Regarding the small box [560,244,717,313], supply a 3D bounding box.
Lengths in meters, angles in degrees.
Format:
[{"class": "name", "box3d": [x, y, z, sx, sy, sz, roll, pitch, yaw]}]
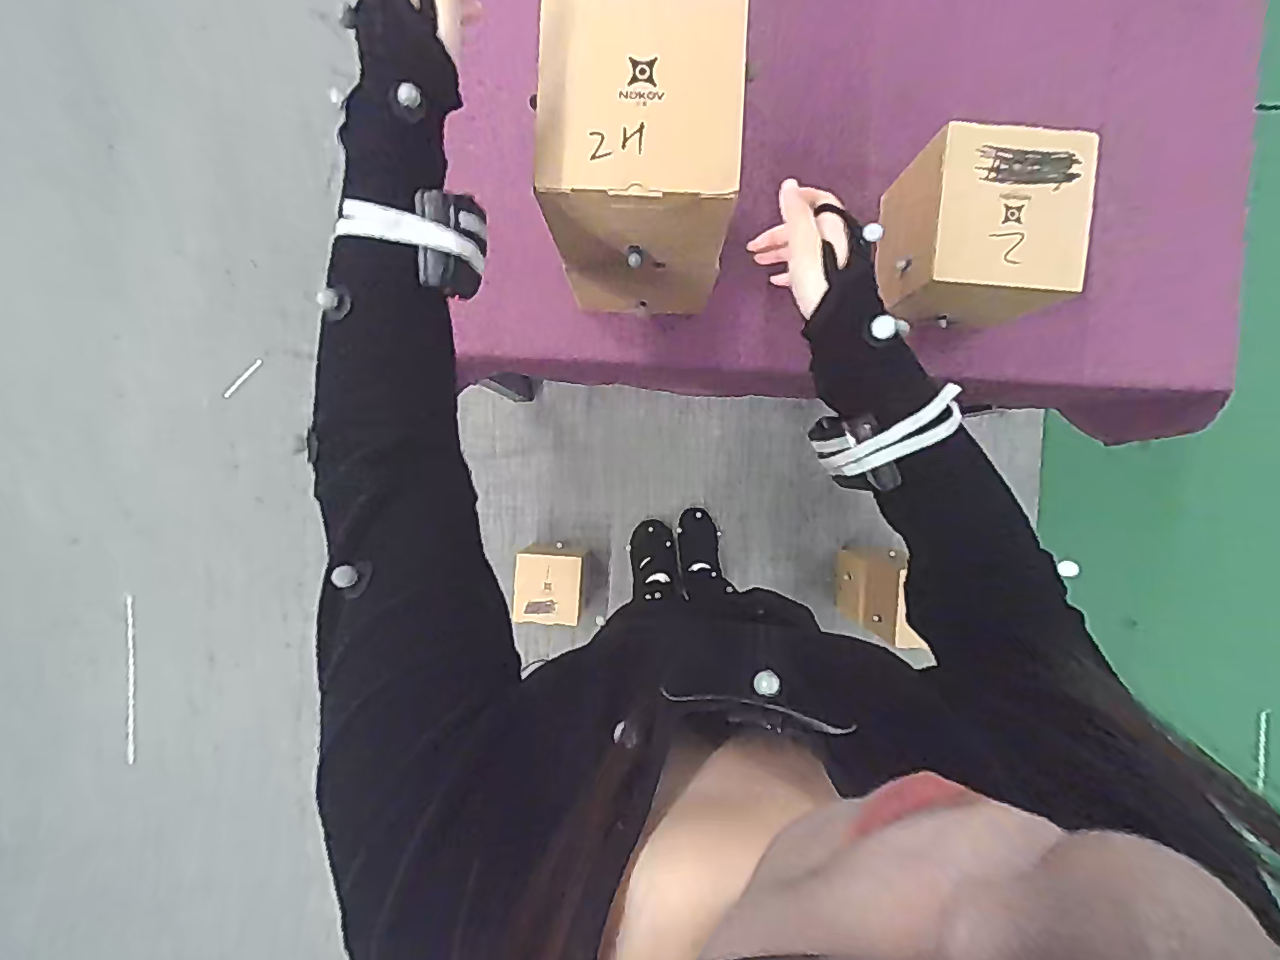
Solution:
[{"class": "small box", "box3d": [-0.001, -0.316, 0.678, 0.179, 0.176, 0.168, 1, 91, 0]}]

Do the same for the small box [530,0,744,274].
[{"class": "small box", "box3d": [-0.002, -0.317, 0.513, 0.168, 0.176, 0.179, 3, 92, 1]}]

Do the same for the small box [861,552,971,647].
[{"class": "small box", "box3d": [0.632, 0.271, 1.257, 0.168, 0.176, 0.179, 3, 91, -1]}]

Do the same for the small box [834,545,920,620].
[{"class": "small box", "box3d": [0.623, 0.267, 1.420, 0.179, 0.176, 0.168, 1, 92, 0]}]

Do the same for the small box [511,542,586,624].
[{"class": "small box", "box3d": [-0.235, 0.266, 1.426, 0.168, 0.176, 0.179, 4, 90, 0]}]
